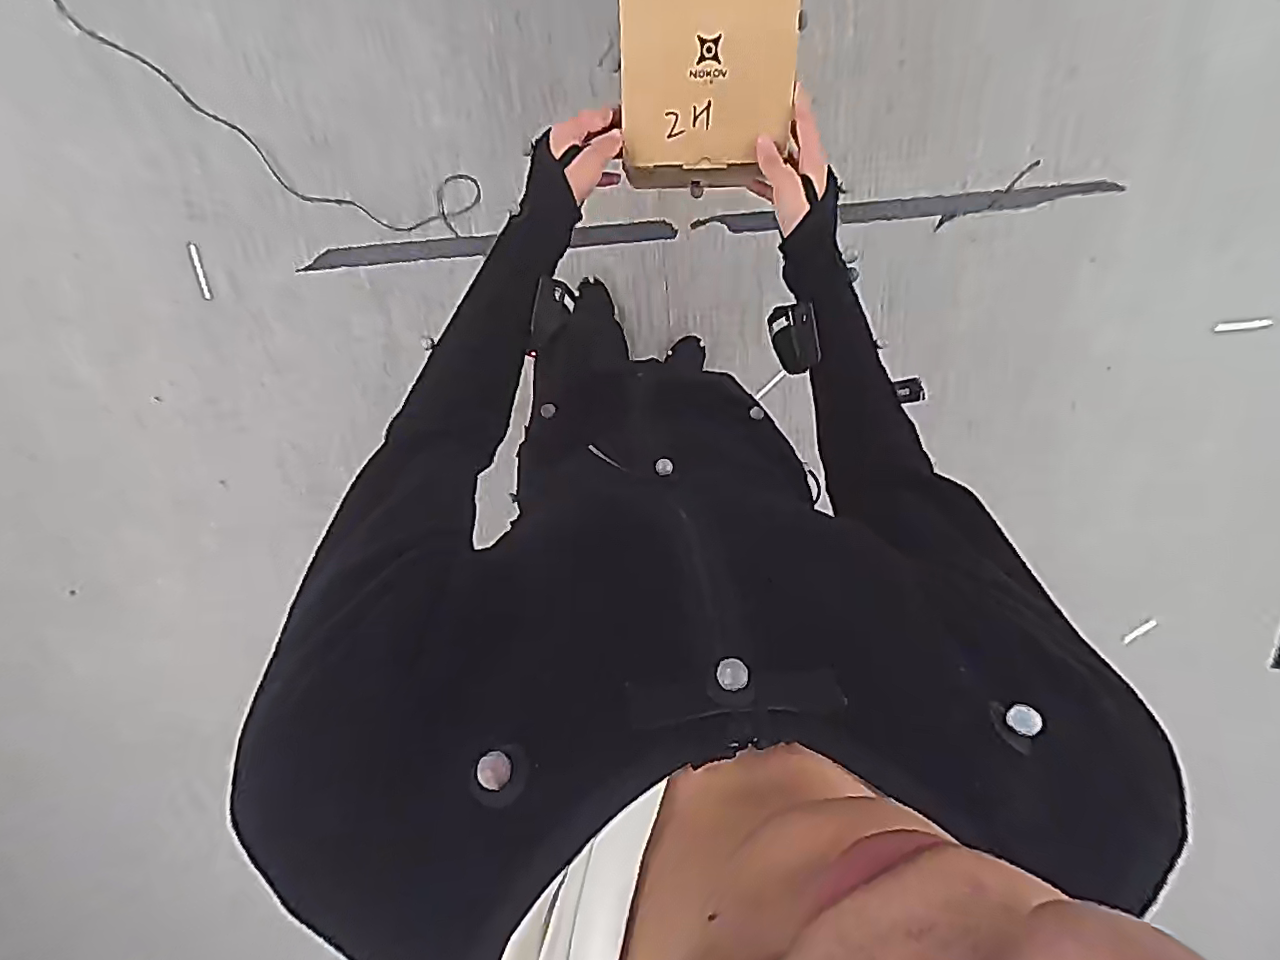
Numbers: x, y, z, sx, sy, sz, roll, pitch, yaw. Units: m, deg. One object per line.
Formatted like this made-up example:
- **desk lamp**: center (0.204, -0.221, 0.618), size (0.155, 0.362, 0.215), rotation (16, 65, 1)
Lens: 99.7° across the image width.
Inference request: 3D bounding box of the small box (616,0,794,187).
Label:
- **small box**: center (0.060, -0.426, 0.581), size (0.168, 0.176, 0.179), rotation (0, 112, 2)

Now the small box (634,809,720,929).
- **small box**: center (0.080, 0.916, 1.283), size (0.179, 0.176, 0.168), rotation (5, 109, -3)
